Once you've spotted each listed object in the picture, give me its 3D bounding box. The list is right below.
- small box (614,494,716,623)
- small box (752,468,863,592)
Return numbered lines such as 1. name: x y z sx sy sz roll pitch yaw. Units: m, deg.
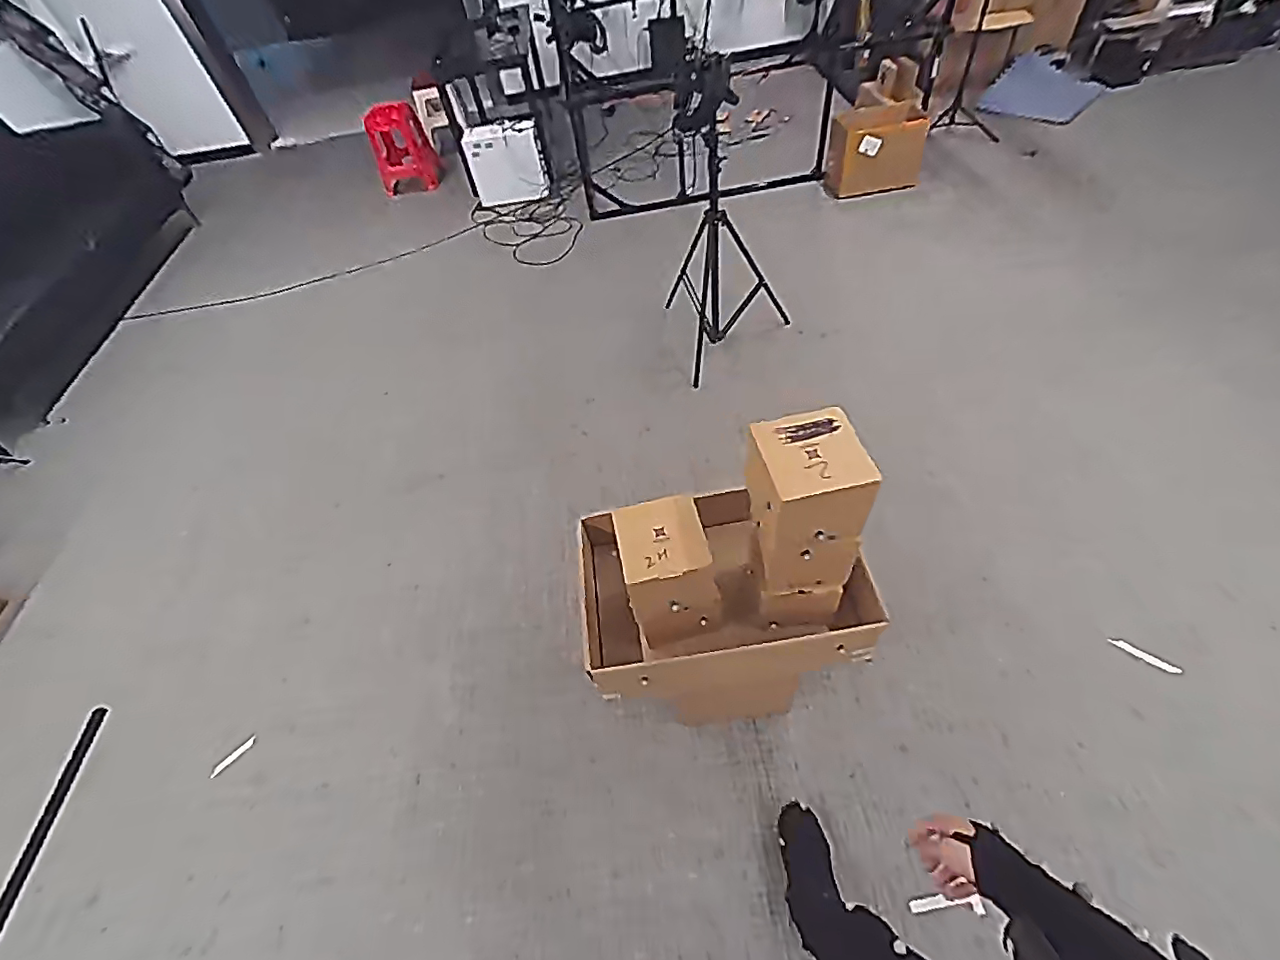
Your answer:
1. small box: 0.050 0.159 1.084 0.168 0.176 0.179 -13 51 -2
2. small box: 0.322 0.103 1.081 0.168 0.176 0.179 -8 50 3
